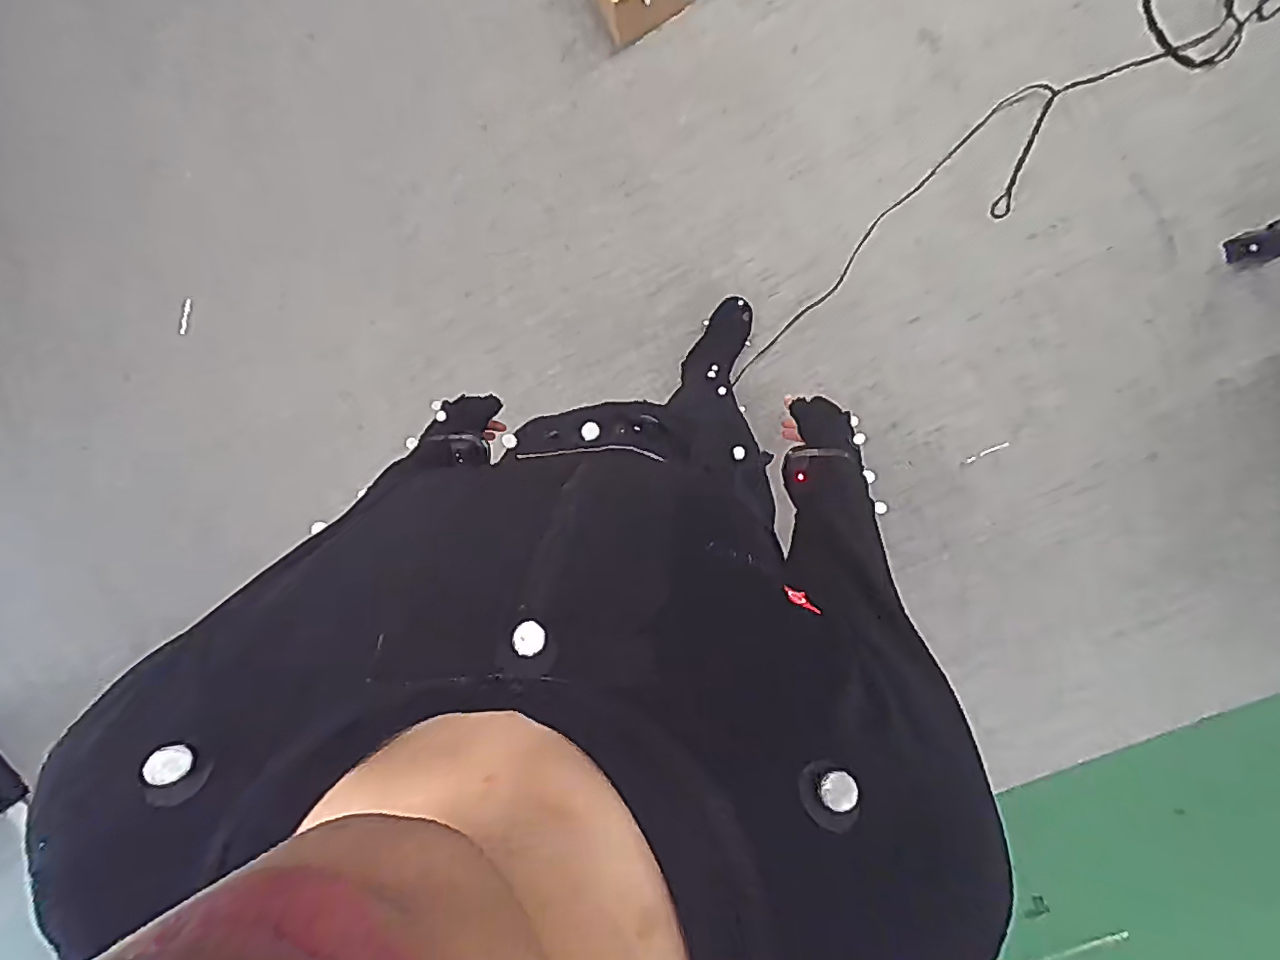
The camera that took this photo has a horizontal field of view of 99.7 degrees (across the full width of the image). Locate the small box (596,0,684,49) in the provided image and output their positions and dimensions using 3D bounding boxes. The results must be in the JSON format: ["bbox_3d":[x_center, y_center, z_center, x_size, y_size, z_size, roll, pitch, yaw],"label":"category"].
[{"bbox_3d":[-0.013,-1.073,1.142,0.179,0.176,0.168,-27,100,9],"label":"small box"}]
